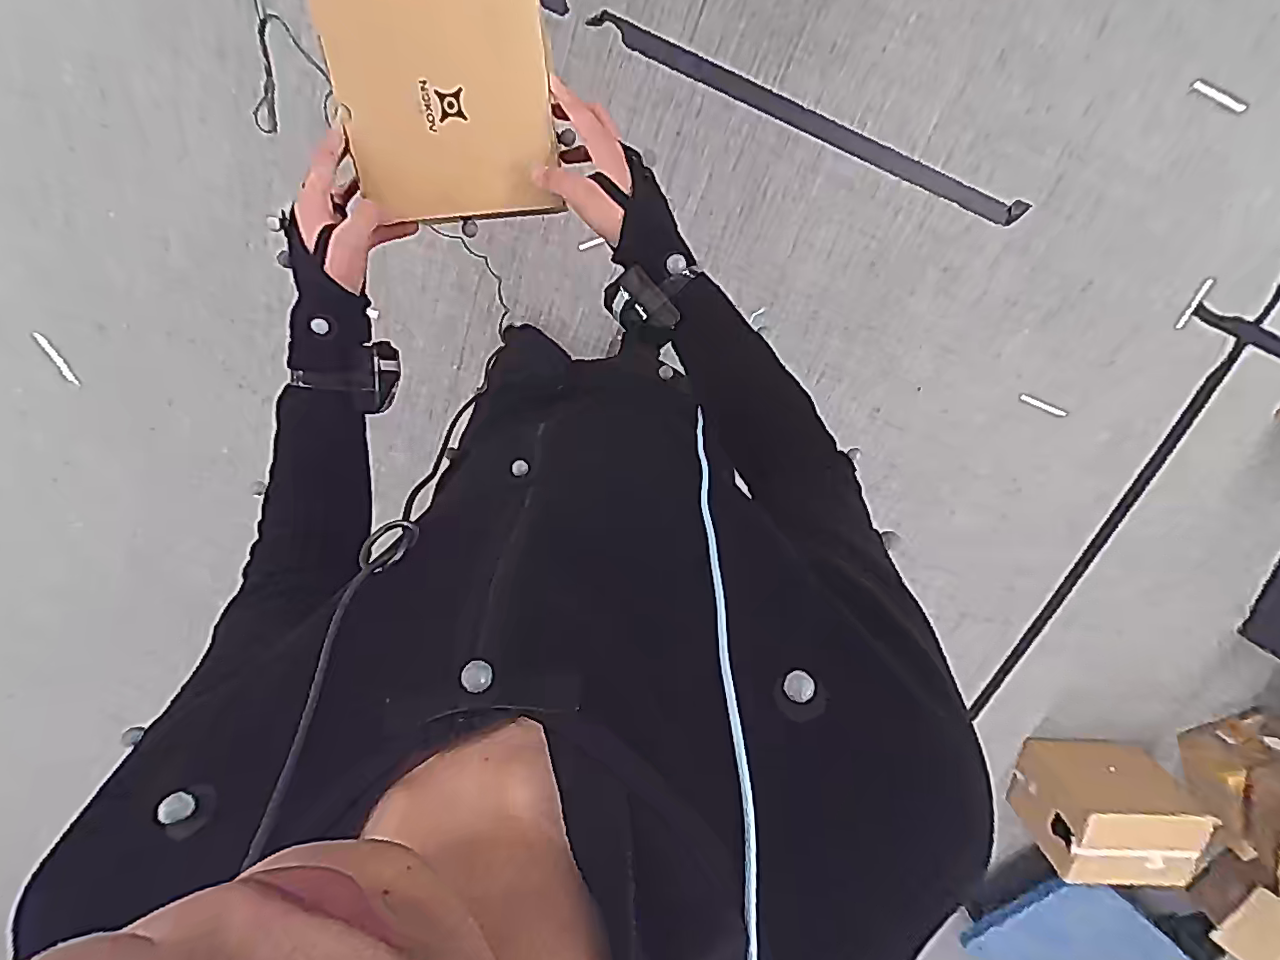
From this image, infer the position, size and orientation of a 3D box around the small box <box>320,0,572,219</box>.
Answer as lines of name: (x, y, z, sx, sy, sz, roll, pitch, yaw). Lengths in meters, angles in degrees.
small box: (-0.159, -0.348, 0.516, 0.179, 0.176, 0.168, -5, 116, -1)
